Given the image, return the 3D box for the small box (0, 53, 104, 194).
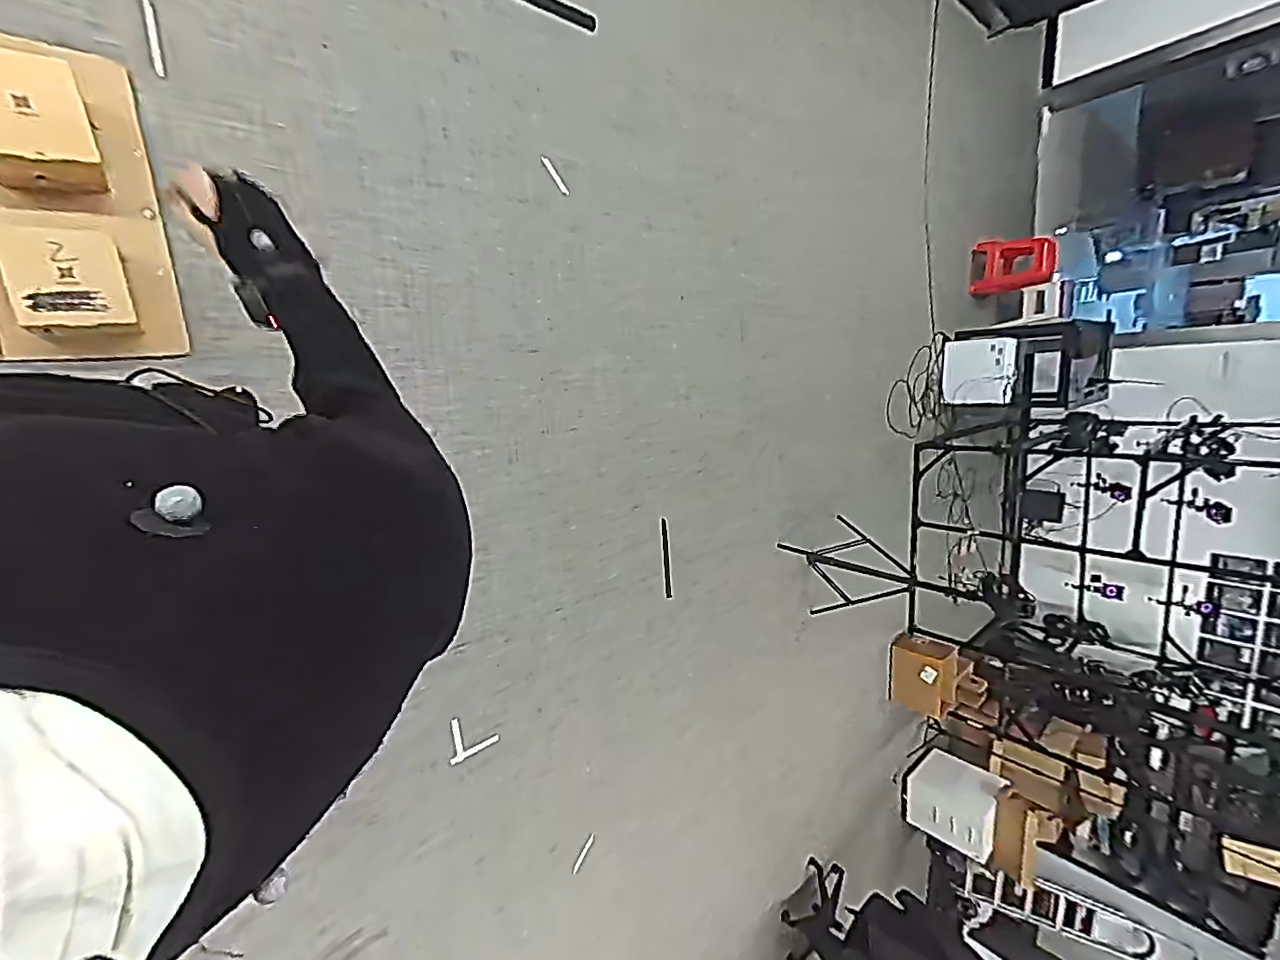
[{"bbox_3d":[-1.149,-0.662,1.013,0.168,0.176,0.179,-18,107,-38],"label":"small box"}]
